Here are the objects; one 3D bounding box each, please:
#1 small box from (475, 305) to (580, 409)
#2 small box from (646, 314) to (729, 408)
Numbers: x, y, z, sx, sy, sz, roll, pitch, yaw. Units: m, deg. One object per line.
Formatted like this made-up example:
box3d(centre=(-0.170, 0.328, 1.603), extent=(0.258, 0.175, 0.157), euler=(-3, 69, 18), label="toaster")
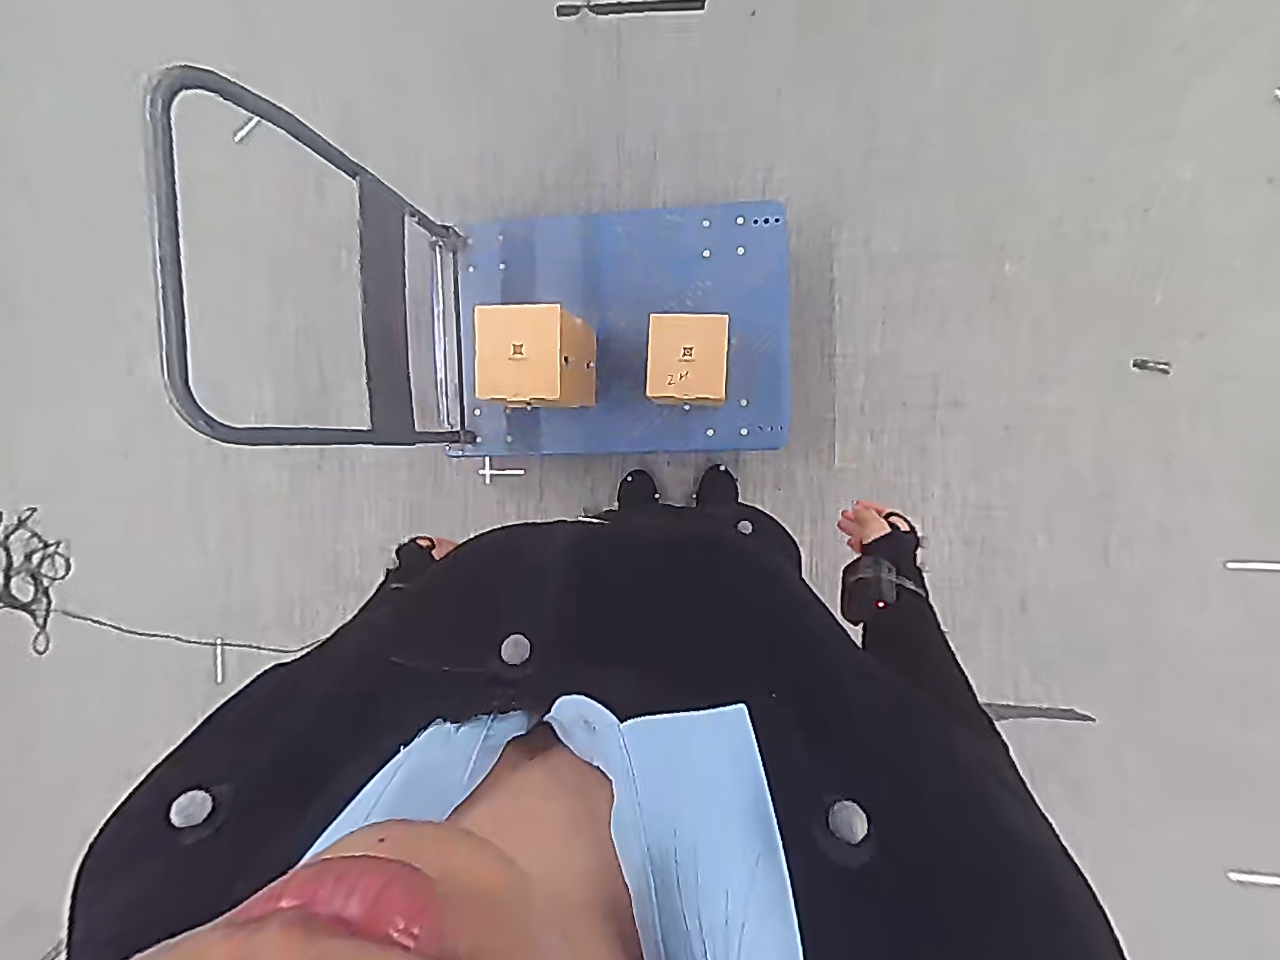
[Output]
box3d(centre=(-0.217, -0.237, 1.074), extent=(0.168, 0.176, 0.179), euler=(1, 94, 6), label="small box")
box3d(centre=(0.106, -0.258, 1.201), extent=(0.168, 0.176, 0.179), euler=(3, 93, 7), label="small box")
